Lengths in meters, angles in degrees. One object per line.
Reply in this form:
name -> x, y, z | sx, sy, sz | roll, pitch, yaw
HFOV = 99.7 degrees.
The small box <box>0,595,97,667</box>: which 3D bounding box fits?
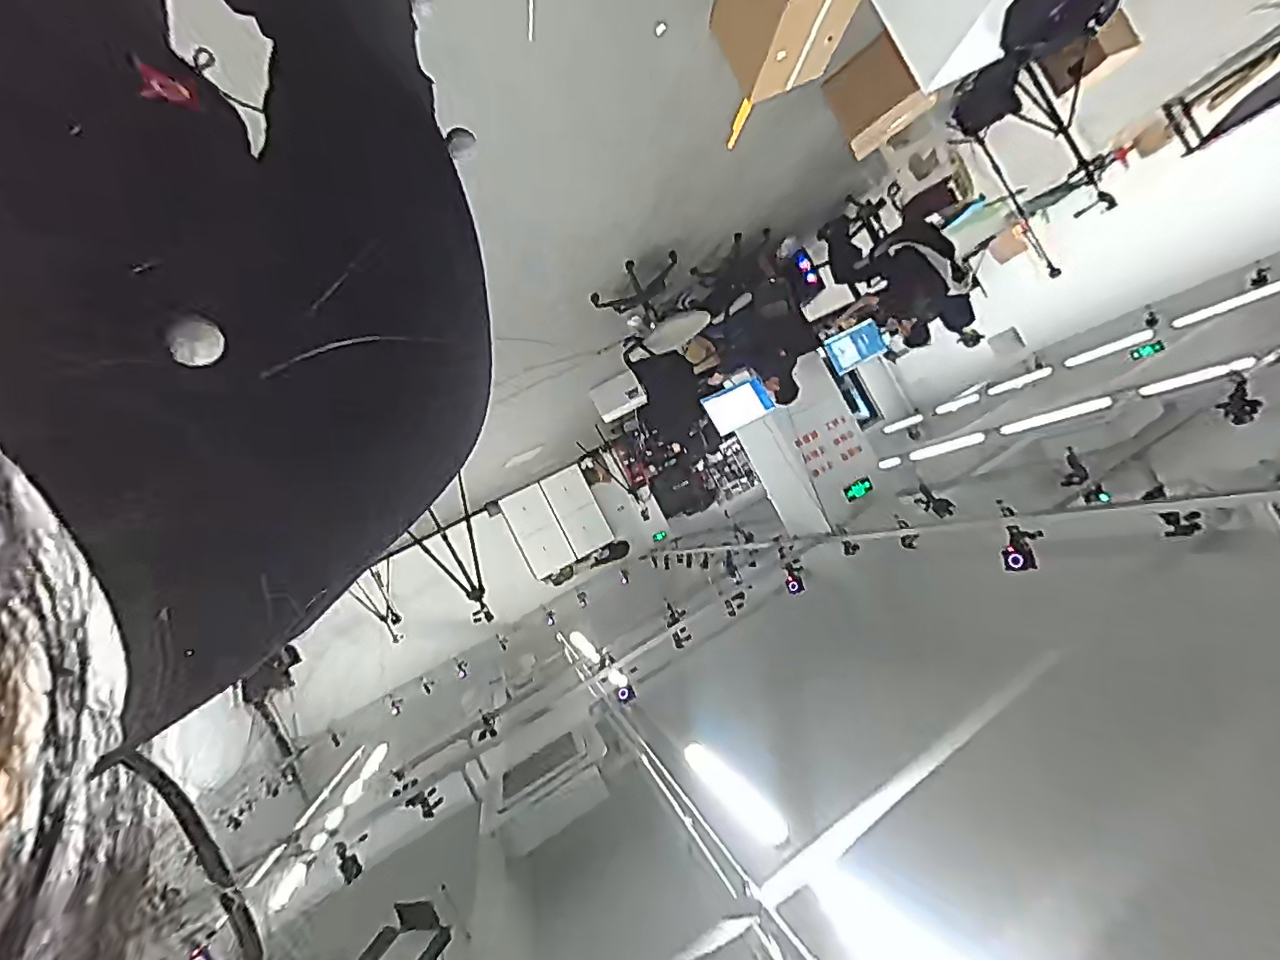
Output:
small box -> -1.987, 0.492, 1.794 | 0.168, 0.176, 0.179 | -28, 178, -20
